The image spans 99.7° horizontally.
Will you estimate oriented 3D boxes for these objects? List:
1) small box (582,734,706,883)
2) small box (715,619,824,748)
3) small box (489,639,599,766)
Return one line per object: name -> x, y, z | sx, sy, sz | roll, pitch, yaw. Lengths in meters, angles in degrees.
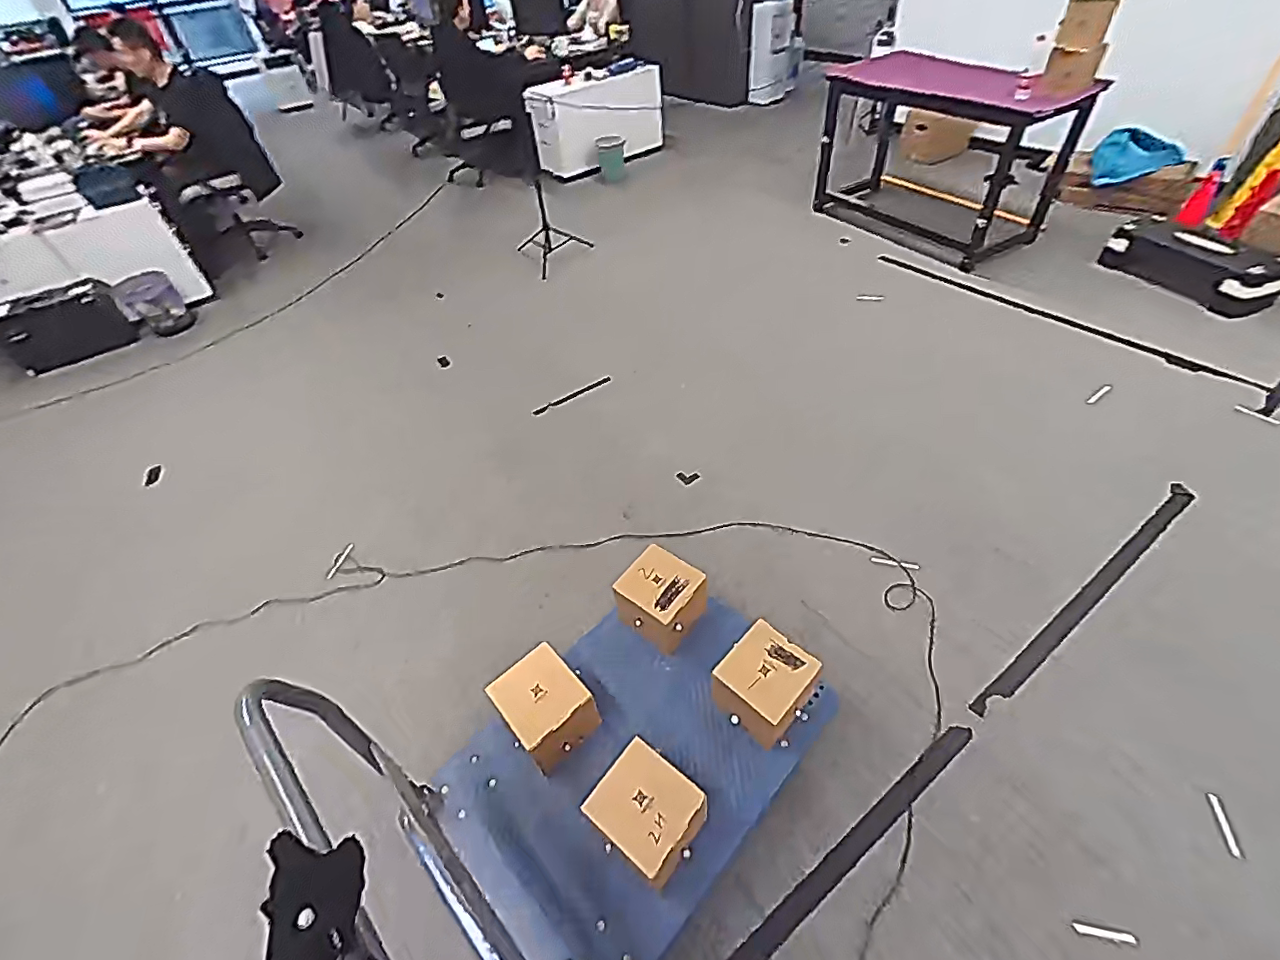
small box -> 0.012, 0.646, 1.057 | 0.179, 0.176, 0.168 | 30, 56, 30
small box -> 0.280, 0.455, 1.208 | 0.179, 0.176, 0.168 | -38, 54, -25
small box -> -0.211, 0.503, 1.218 | 0.168, 0.176, 0.179 | -35, 54, -25
